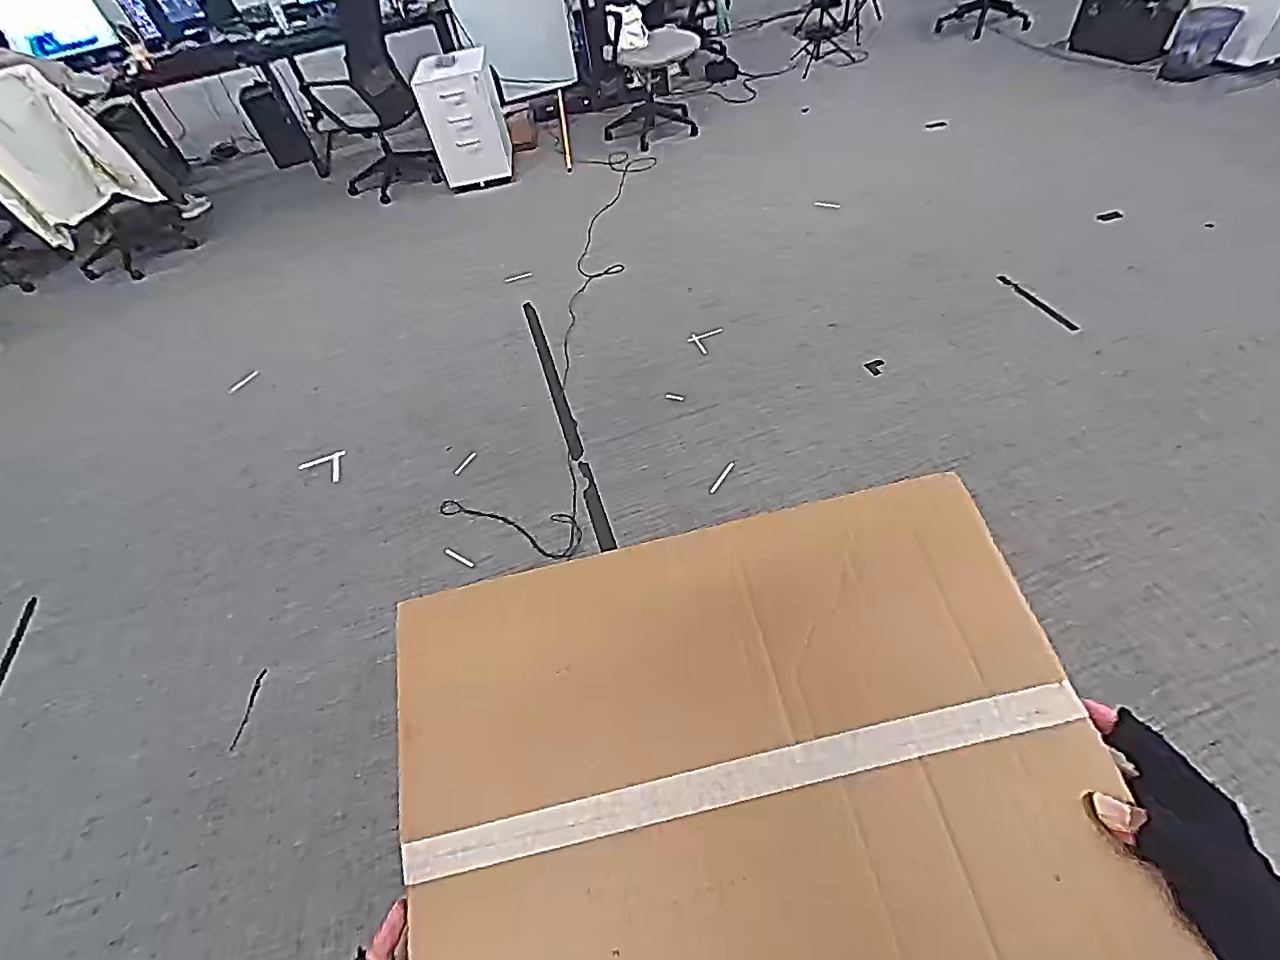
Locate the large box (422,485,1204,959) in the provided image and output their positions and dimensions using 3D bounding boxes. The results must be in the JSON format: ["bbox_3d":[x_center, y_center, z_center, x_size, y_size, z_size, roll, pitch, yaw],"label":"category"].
[{"bbox_3d":[0.080,0.248,0.460,0.408,0.320,0.320,-14,65,0],"label":"large box"}]
